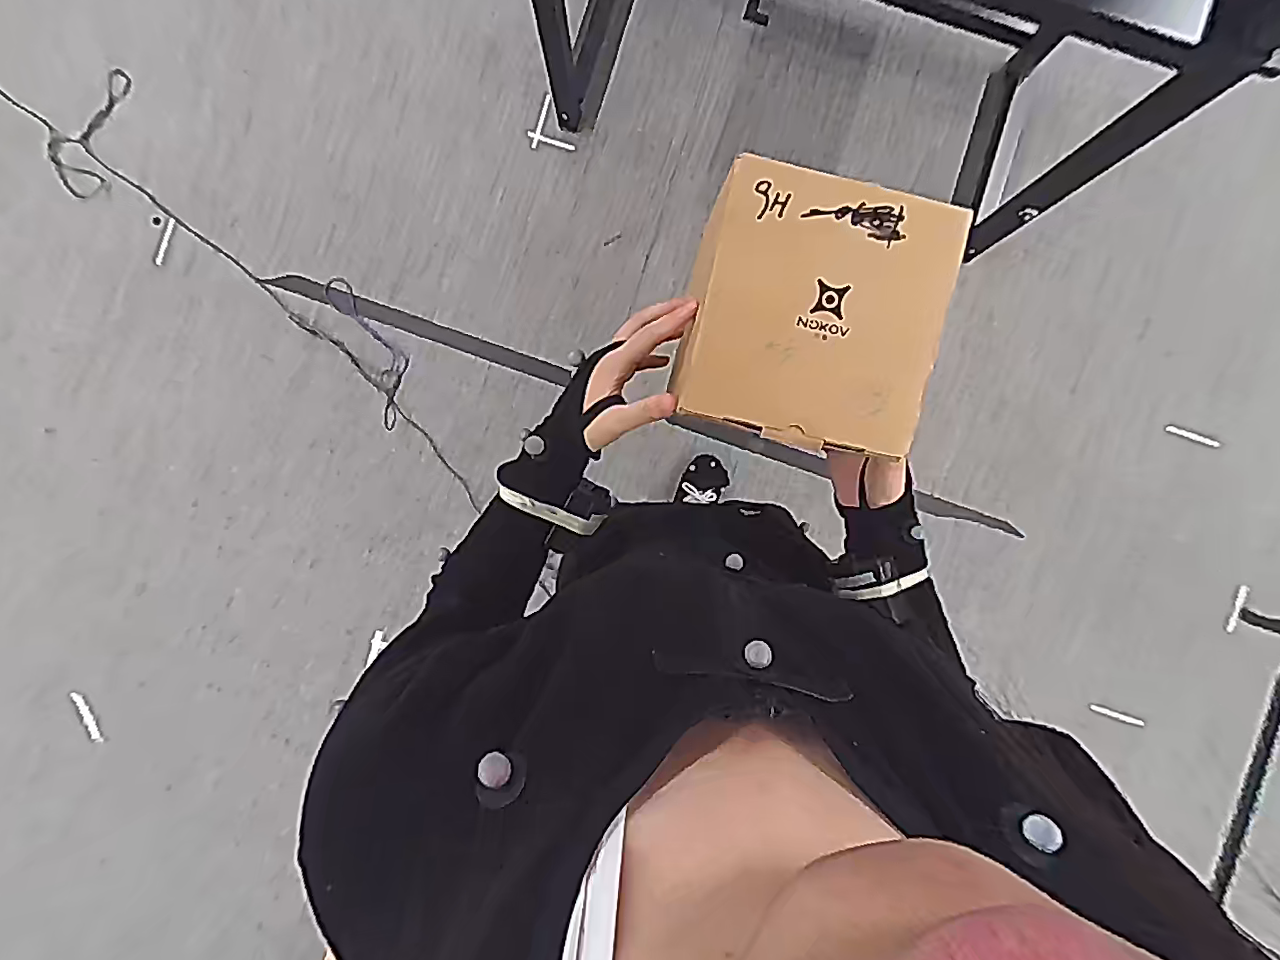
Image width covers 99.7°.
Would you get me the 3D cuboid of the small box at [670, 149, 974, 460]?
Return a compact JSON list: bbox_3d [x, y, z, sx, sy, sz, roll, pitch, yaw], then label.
[{"bbox_3d":[0.123,-0.125,0.445,0.168,0.176,0.179,12,97,-4],"label":"small box"}]
